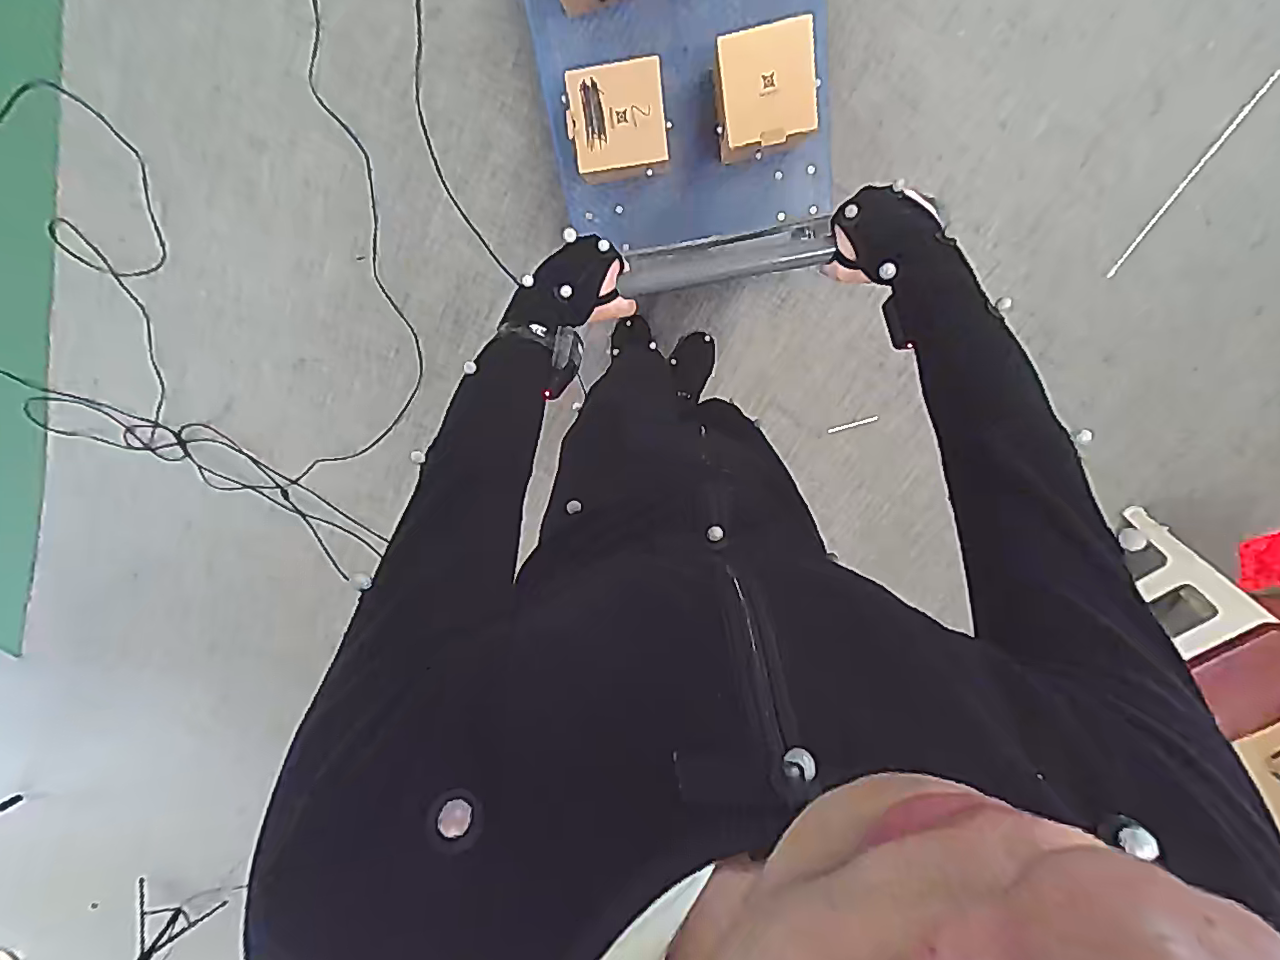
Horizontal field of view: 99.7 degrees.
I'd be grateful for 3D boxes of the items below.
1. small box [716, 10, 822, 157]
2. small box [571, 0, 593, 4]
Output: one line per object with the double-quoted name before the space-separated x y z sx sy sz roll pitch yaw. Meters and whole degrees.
"small box" 0.240 -0.742 1.033 0.168 0.176 0.179 -8 113 8
"small box" -0.081 -0.982 0.947 0.168 0.176 0.179 -12 112 8
